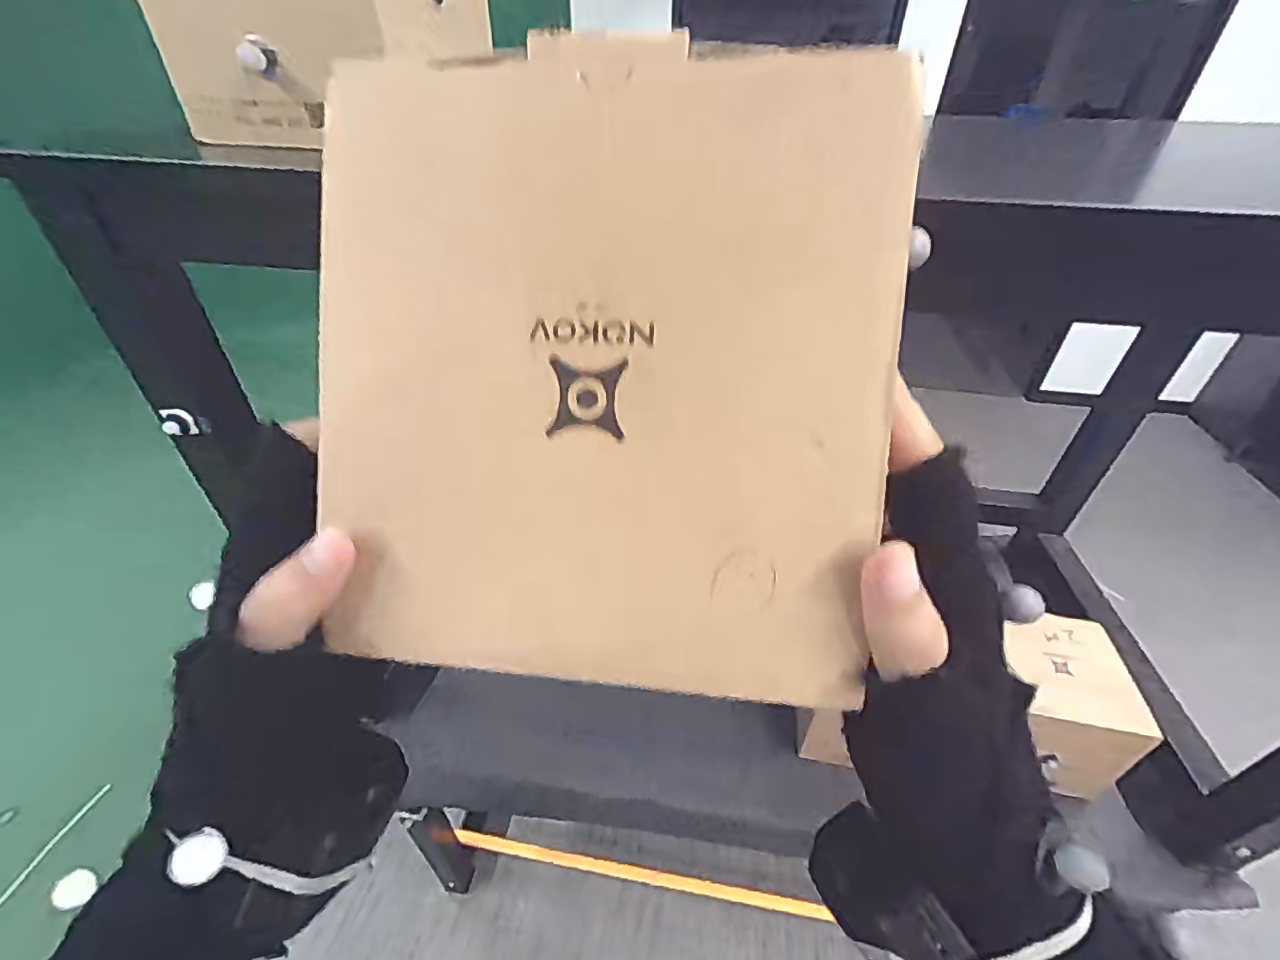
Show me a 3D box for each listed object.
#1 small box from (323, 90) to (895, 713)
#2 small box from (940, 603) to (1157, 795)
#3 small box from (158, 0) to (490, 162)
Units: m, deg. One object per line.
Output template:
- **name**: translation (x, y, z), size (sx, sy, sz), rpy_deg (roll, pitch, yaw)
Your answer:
- **small box**: translation (-0.007, -0.029, 0.240), size (0.168, 0.179, 0.176), rpy_deg (4, 4, 7)
- **small box**: translation (0.550, 0.307, 0.761), size (0.168, 0.176, 0.179), rpy_deg (9, 37, 10)
- **small box**: translation (-0.223, -0.344, 0.403), size (0.168, 0.176, 0.179), rpy_deg (7, 39, 8)
